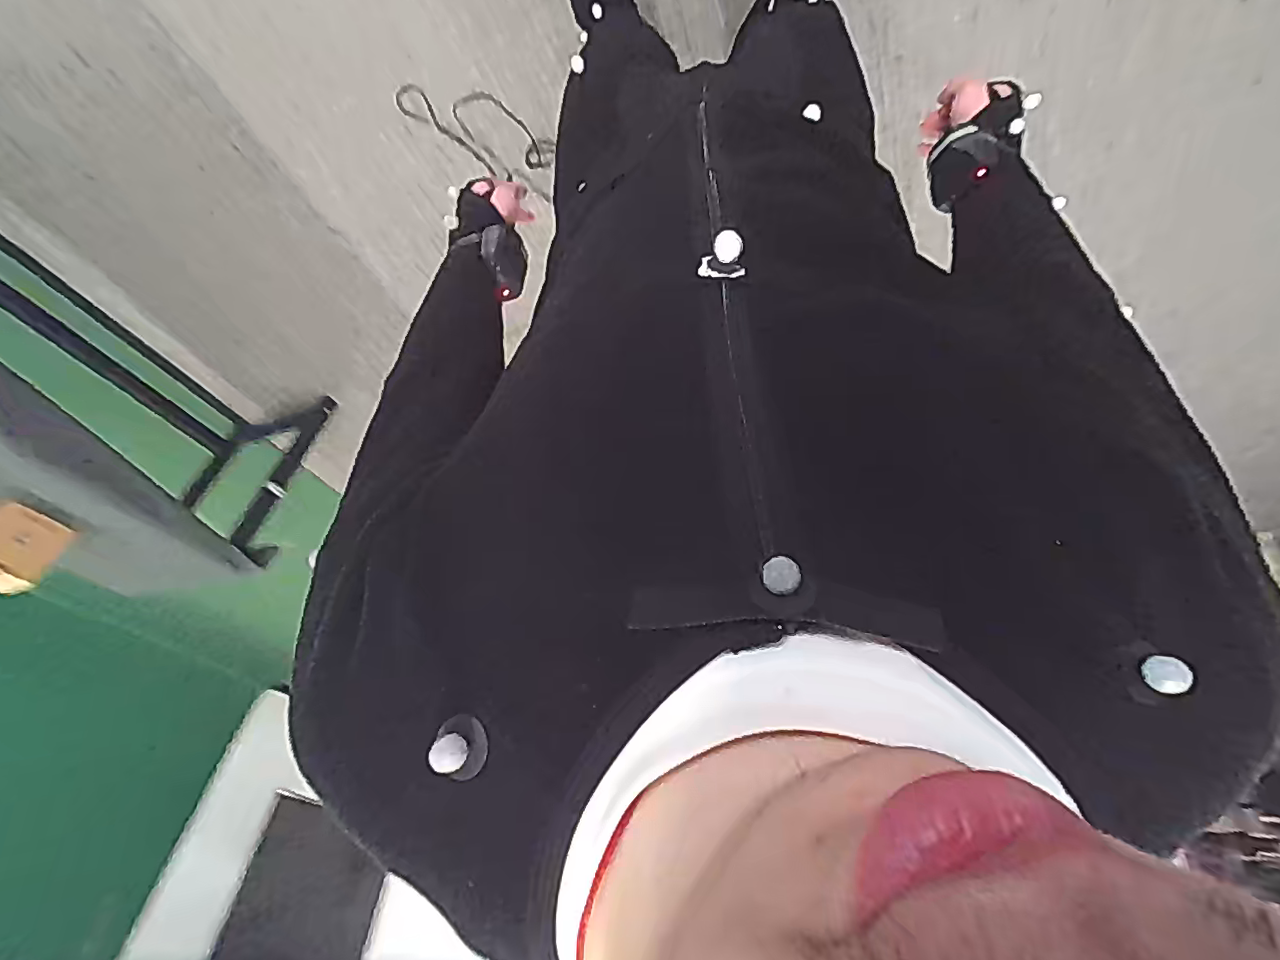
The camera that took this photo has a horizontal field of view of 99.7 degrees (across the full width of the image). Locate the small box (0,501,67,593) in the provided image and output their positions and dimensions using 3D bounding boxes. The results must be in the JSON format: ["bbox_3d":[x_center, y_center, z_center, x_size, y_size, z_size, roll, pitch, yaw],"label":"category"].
[{"bbox_3d":[-1.683,0.175,1.421,0.179,0.176,0.168,-15,137,24],"label":"small box"}]
